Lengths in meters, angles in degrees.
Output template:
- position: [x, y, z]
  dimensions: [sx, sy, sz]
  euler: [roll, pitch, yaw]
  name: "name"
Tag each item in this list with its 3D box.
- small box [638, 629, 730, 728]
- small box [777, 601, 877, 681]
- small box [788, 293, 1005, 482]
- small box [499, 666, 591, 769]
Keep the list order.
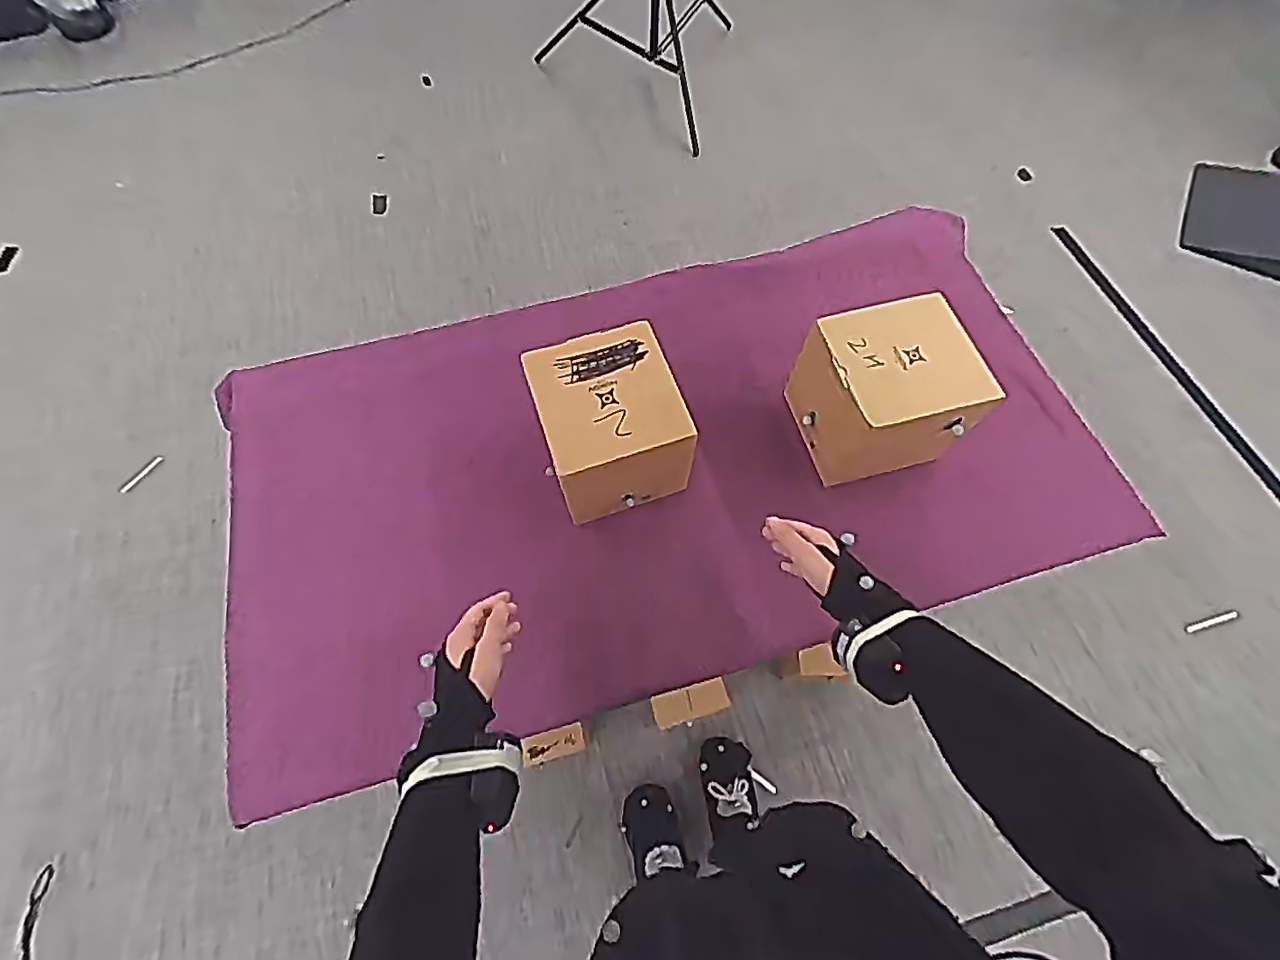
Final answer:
- position: [0.093, 0.466, 1.263]
  dimensions: [0.168, 0.176, 0.179]
  euler: [-16, 68, -6]
  name: "small box"
- position: [0.439, 0.389, 1.298]
  dimensions: [0.179, 0.176, 0.168]
  euler: [0, 67, 1]
  name: "small box"
- position: [0.322, -0.115, 0.722]
  dimensions: [0.179, 0.176, 0.168]
  euler: [-13, 66, -5]
  name: "small box"
- position: [-0.213, 0.541, 1.231]
  dimensions: [0.168, 0.176, 0.179]
  euler: [-13, 65, -6]
  name: "small box"
